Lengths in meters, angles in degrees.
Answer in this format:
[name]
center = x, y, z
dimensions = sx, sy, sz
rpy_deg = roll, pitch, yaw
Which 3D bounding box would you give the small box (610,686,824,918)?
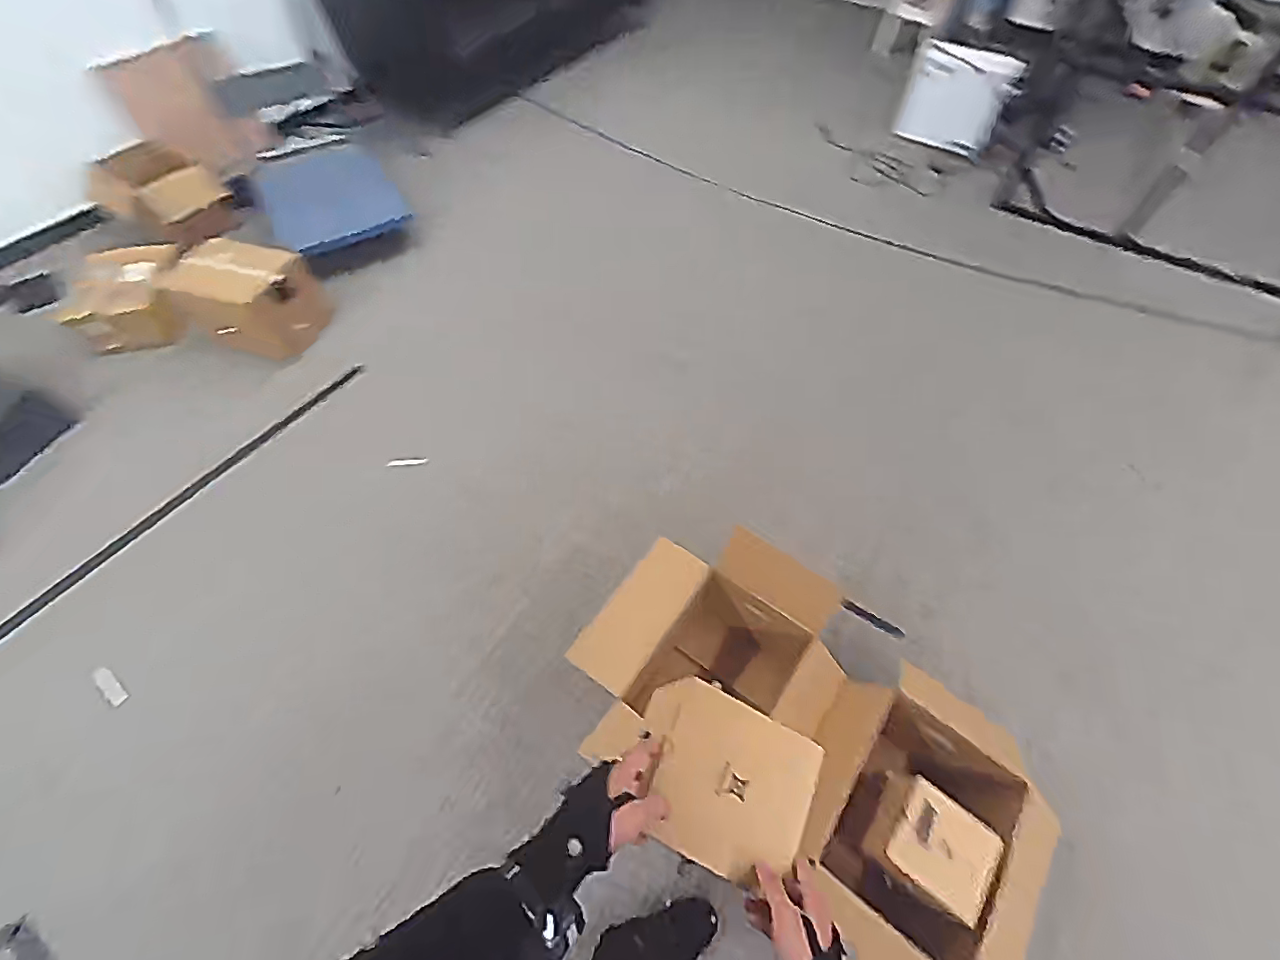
[small box]
center = 0.084, 0.368, 0.647
dimensions = 0.179, 0.176, 0.168
rpy_deg = 28, 62, 2
